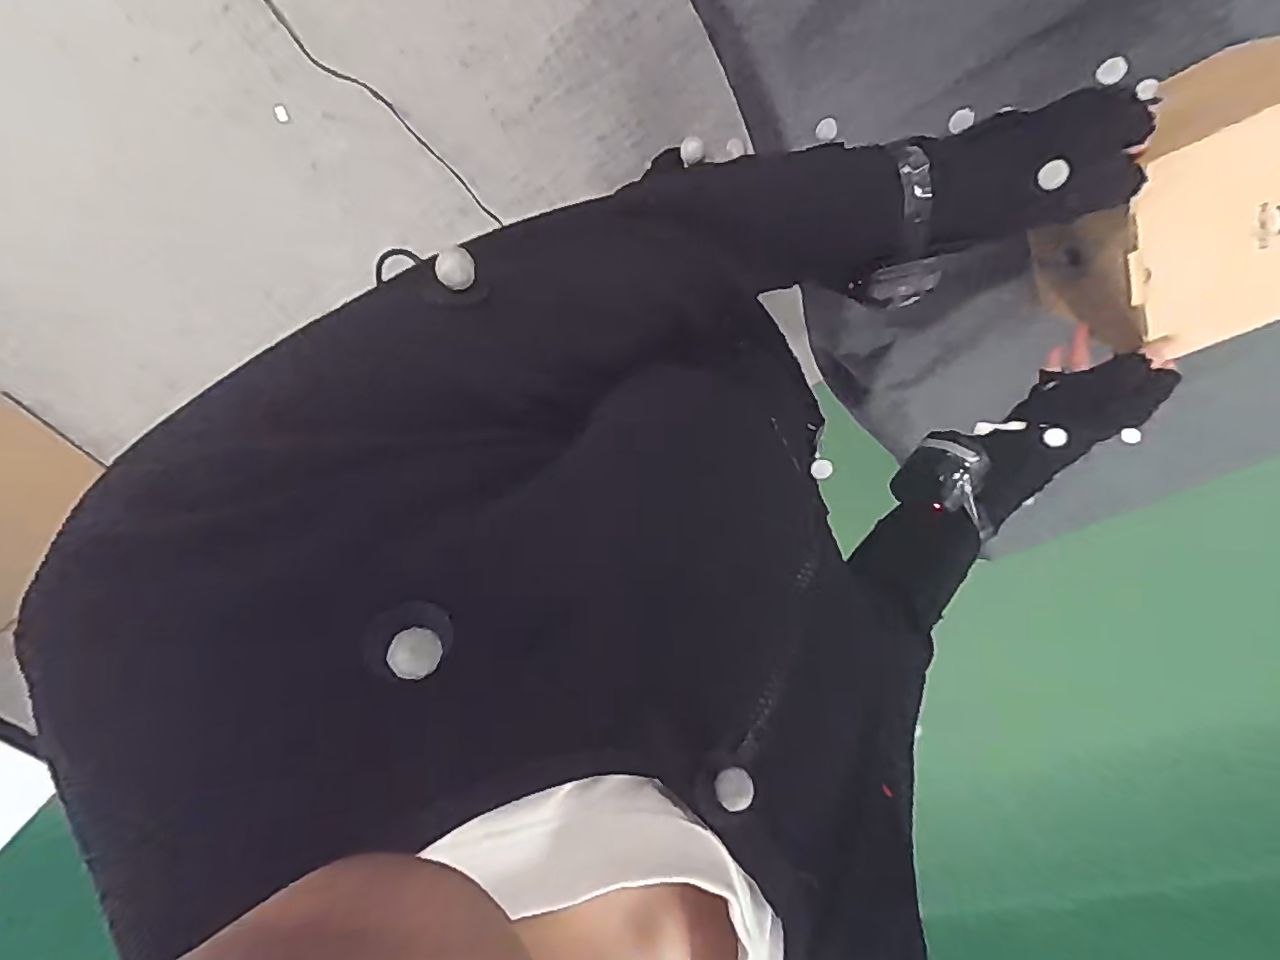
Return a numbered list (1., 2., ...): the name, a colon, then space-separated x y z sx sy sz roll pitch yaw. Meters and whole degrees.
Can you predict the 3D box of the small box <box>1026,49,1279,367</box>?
1. small box: 0.459 -0.226 0.453 0.179 0.176 0.168 -23 117 20
